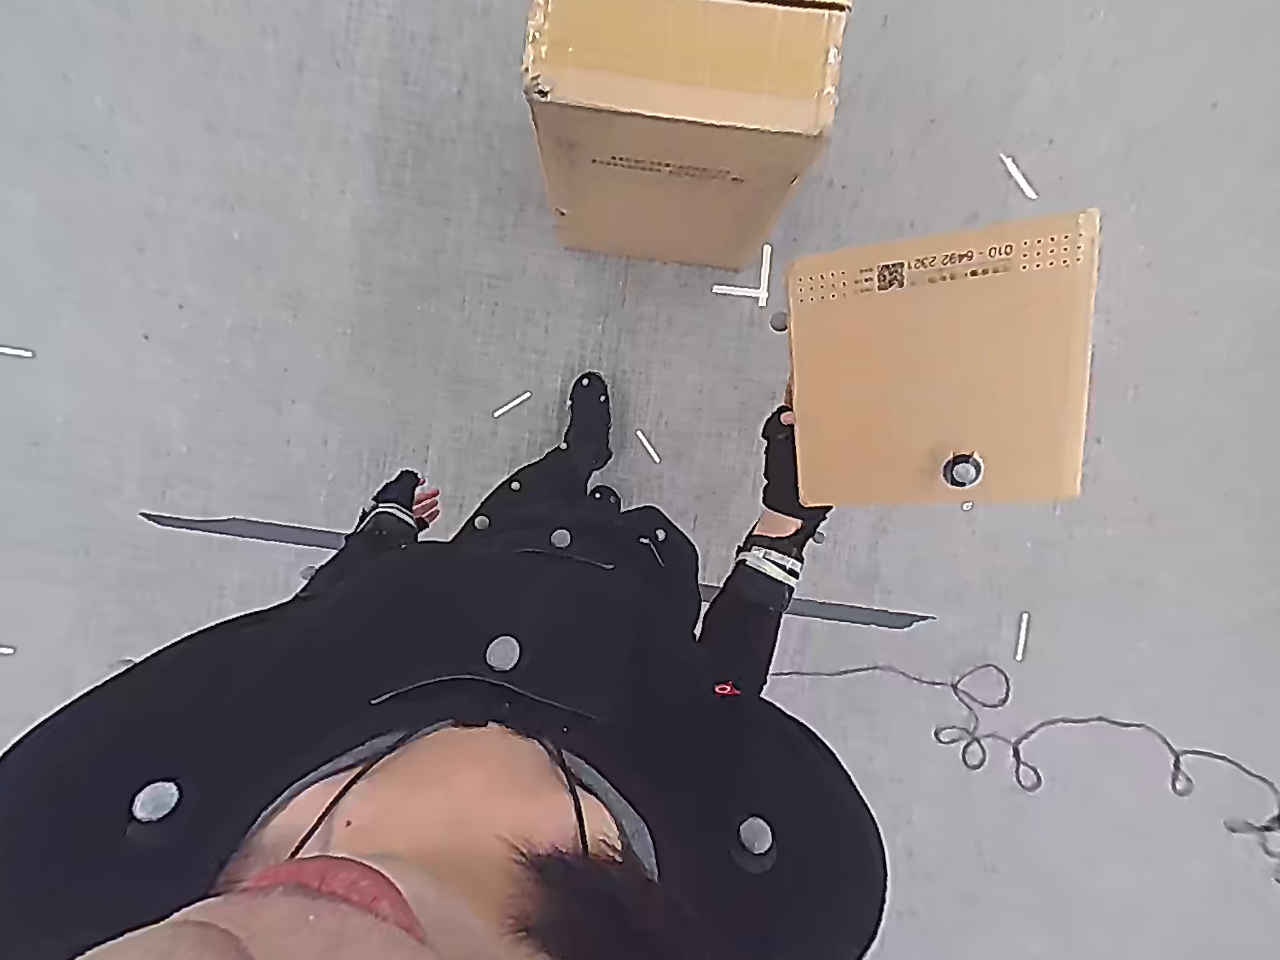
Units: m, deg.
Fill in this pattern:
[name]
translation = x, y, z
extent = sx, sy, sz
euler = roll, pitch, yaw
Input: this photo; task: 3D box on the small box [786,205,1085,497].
[small box]
translation = 0.203, -0.094, 0.408
extent = 0.168, 0.179, 0.176
euler = -3, 105, 19
